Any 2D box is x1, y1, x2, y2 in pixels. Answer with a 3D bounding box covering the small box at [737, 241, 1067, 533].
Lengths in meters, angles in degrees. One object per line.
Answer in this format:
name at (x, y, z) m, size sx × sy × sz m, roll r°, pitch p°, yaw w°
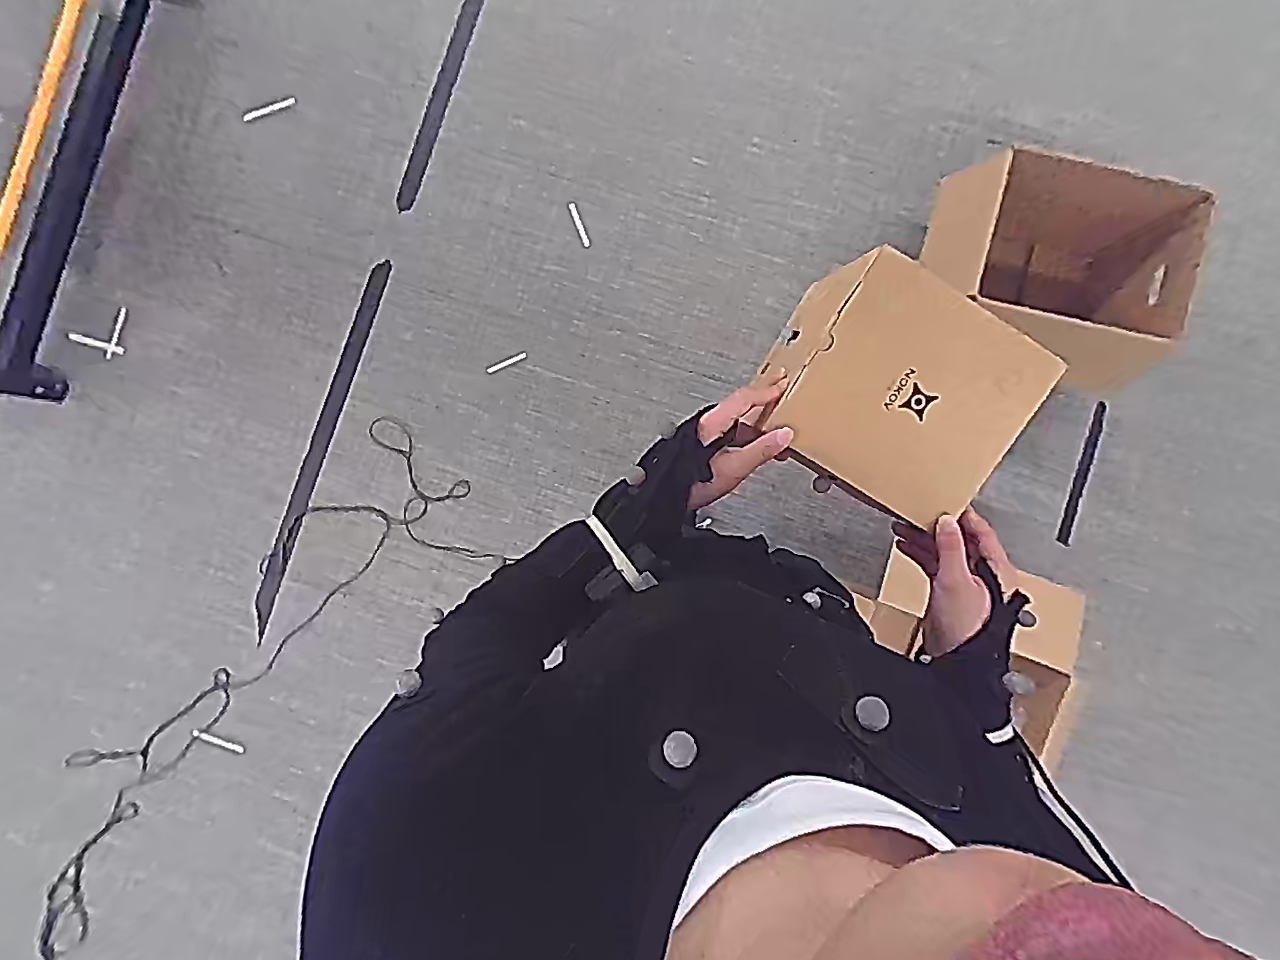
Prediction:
small box at (0.212, -0.081, 0.493) m, size 0.179 × 0.176 × 0.168 m, roll 30°, pitch 99°, yaw -4°
